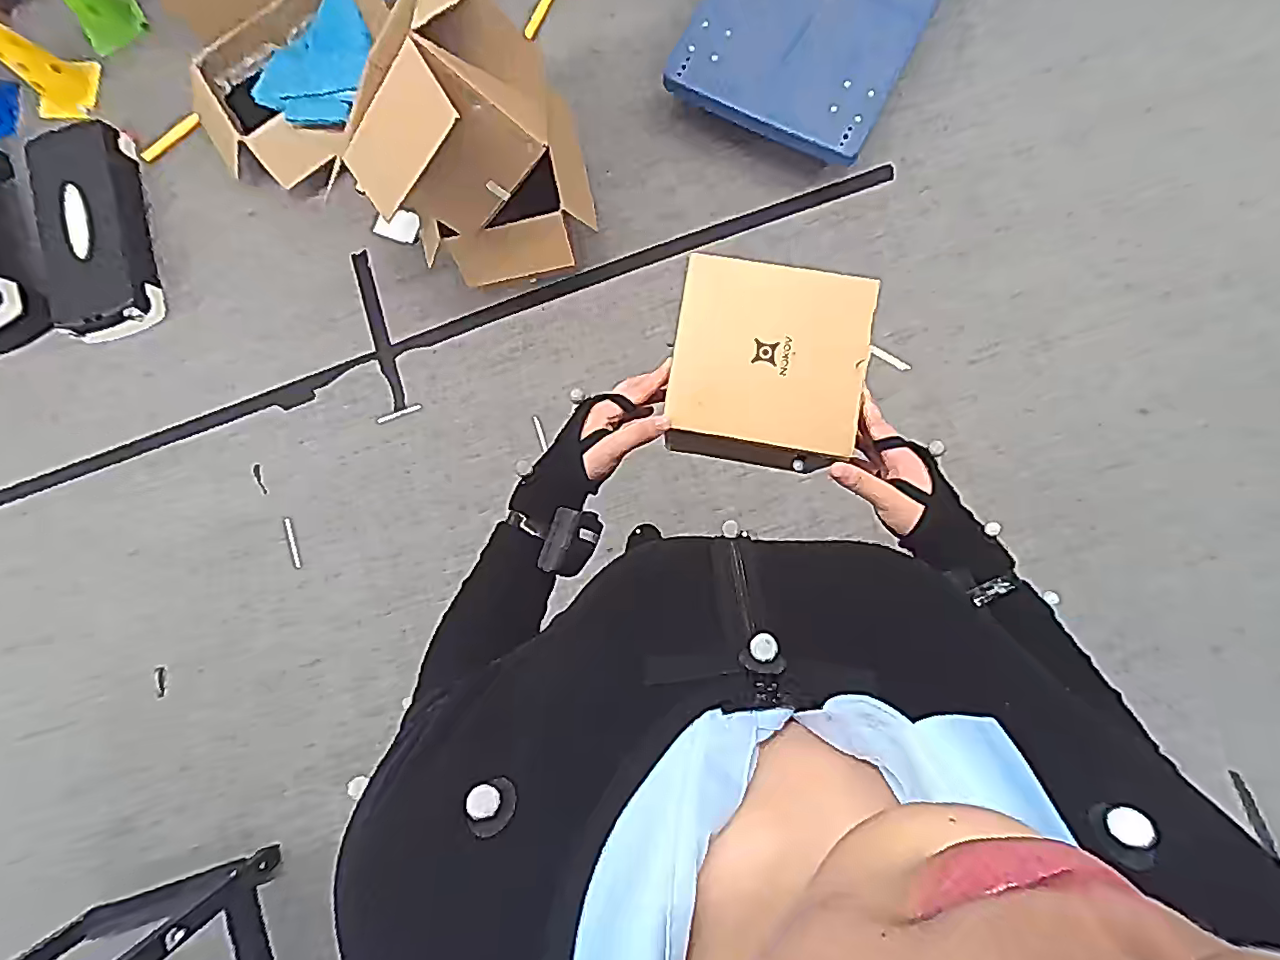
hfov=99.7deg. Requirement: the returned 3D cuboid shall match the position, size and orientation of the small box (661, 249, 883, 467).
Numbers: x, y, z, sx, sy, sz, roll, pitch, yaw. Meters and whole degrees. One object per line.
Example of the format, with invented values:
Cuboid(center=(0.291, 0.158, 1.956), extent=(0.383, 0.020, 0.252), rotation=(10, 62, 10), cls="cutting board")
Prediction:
Cuboid(center=(0.122, -0.111, 0.561), extent=(0.179, 0.176, 0.168), rotation=(10, 87, 3), cls="small box")
